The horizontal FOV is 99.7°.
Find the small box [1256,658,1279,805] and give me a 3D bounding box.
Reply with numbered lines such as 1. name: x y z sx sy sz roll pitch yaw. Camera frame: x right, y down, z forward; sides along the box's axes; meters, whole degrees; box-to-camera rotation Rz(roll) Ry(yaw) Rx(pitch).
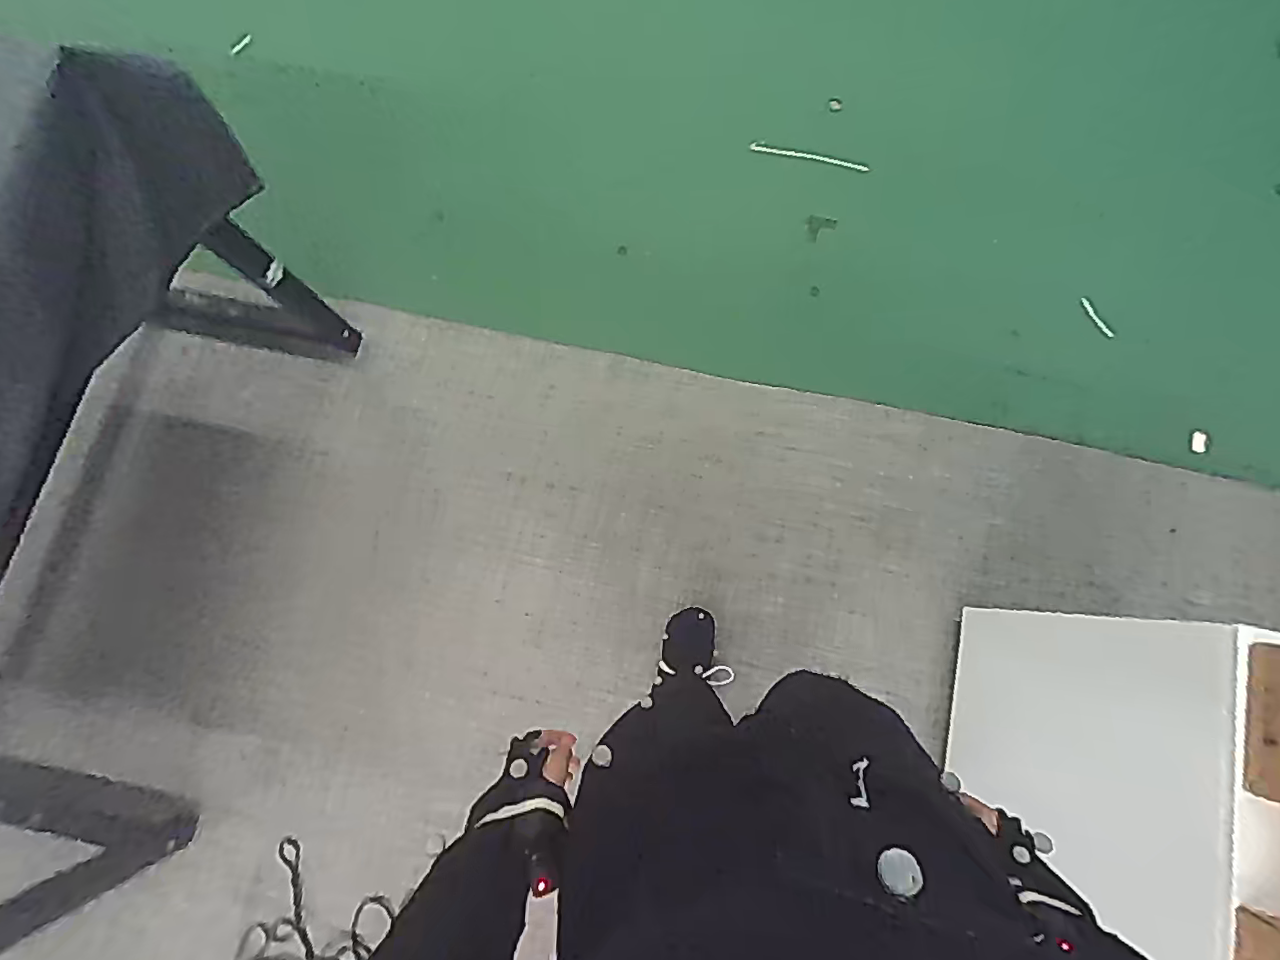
1. small box: 0.763 0.271 0.516 0.179 0.176 0.168 14 81 2
